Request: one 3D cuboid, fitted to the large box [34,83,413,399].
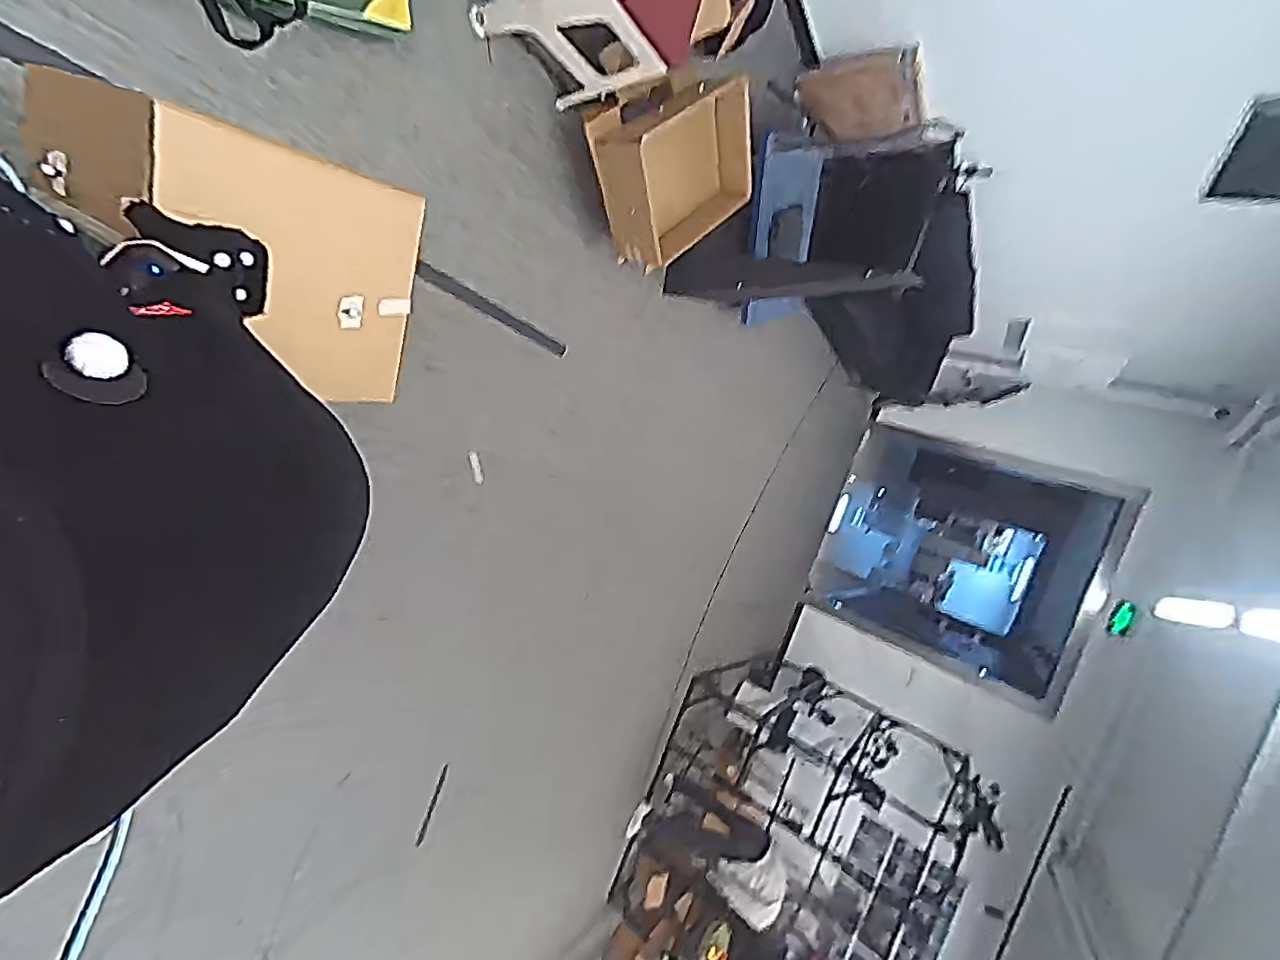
[{"bbox_3d":[-0.600,-0.325,0.794,0.320,0.408,0.320,-11,124,-57],"label":"large box"}]
